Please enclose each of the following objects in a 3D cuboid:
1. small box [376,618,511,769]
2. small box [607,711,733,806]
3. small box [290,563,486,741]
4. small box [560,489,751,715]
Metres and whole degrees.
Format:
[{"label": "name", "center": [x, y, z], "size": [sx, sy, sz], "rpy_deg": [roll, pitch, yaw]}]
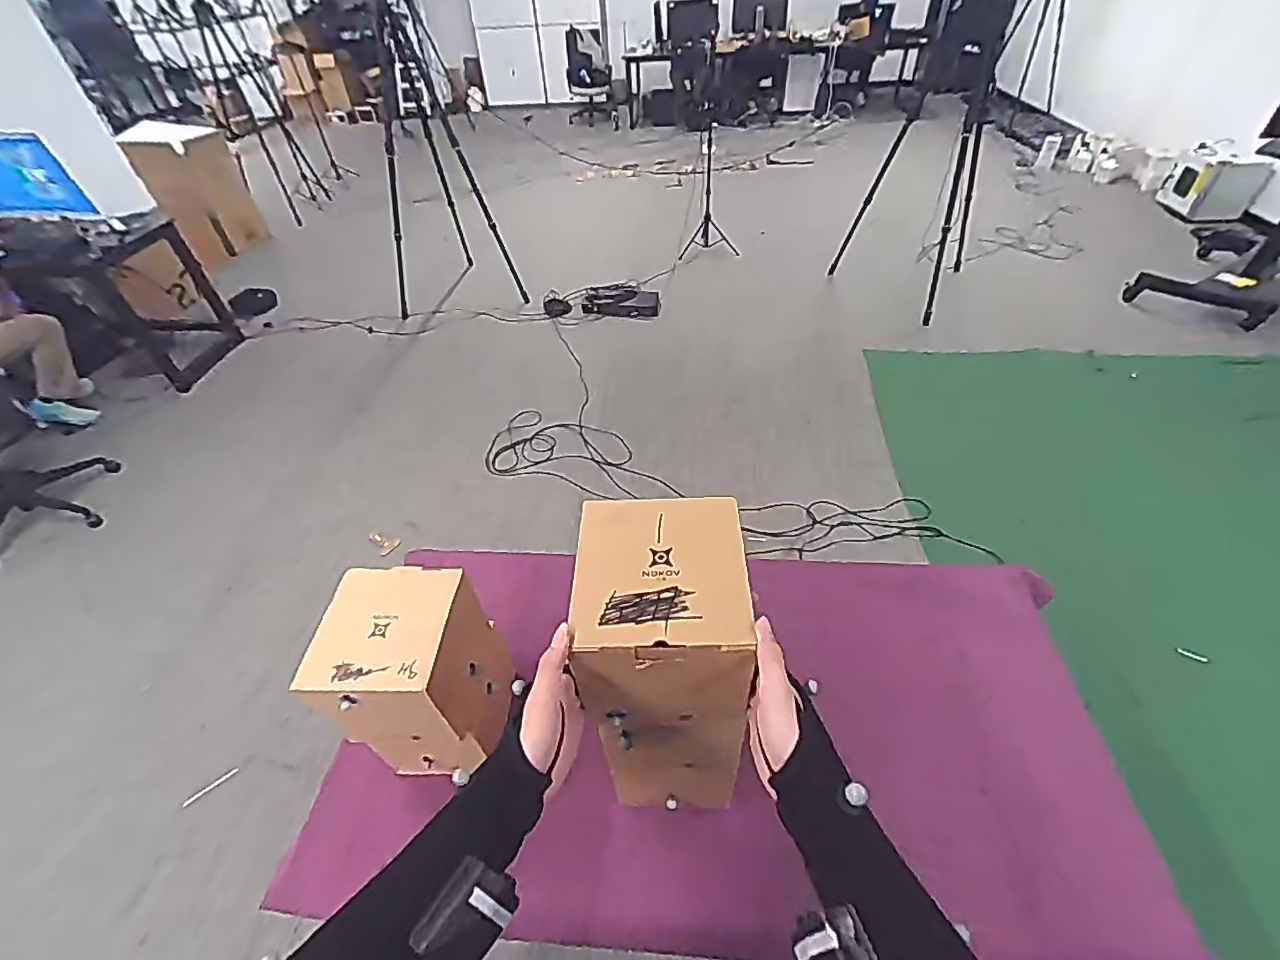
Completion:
[{"label": "small box", "center": [-0.313, 0.341, 0.864], "size": [0.168, 0.176, 0.179], "rpy_deg": [-2, 45, 2]}, {"label": "small box", "center": [0.047, 0.364, 0.811], "size": [0.168, 0.176, 0.179], "rpy_deg": [-1, 45, 5]}, {"label": "small box", "center": [-0.322, 0.234, 0.740], "size": [0.168, 0.176, 0.179], "rpy_deg": [-1, 44, 3]}, {"label": "small box", "center": [0.021, 0.130, 0.565], "size": [0.168, 0.176, 0.179], "rpy_deg": [-1, 43, 3]}]
